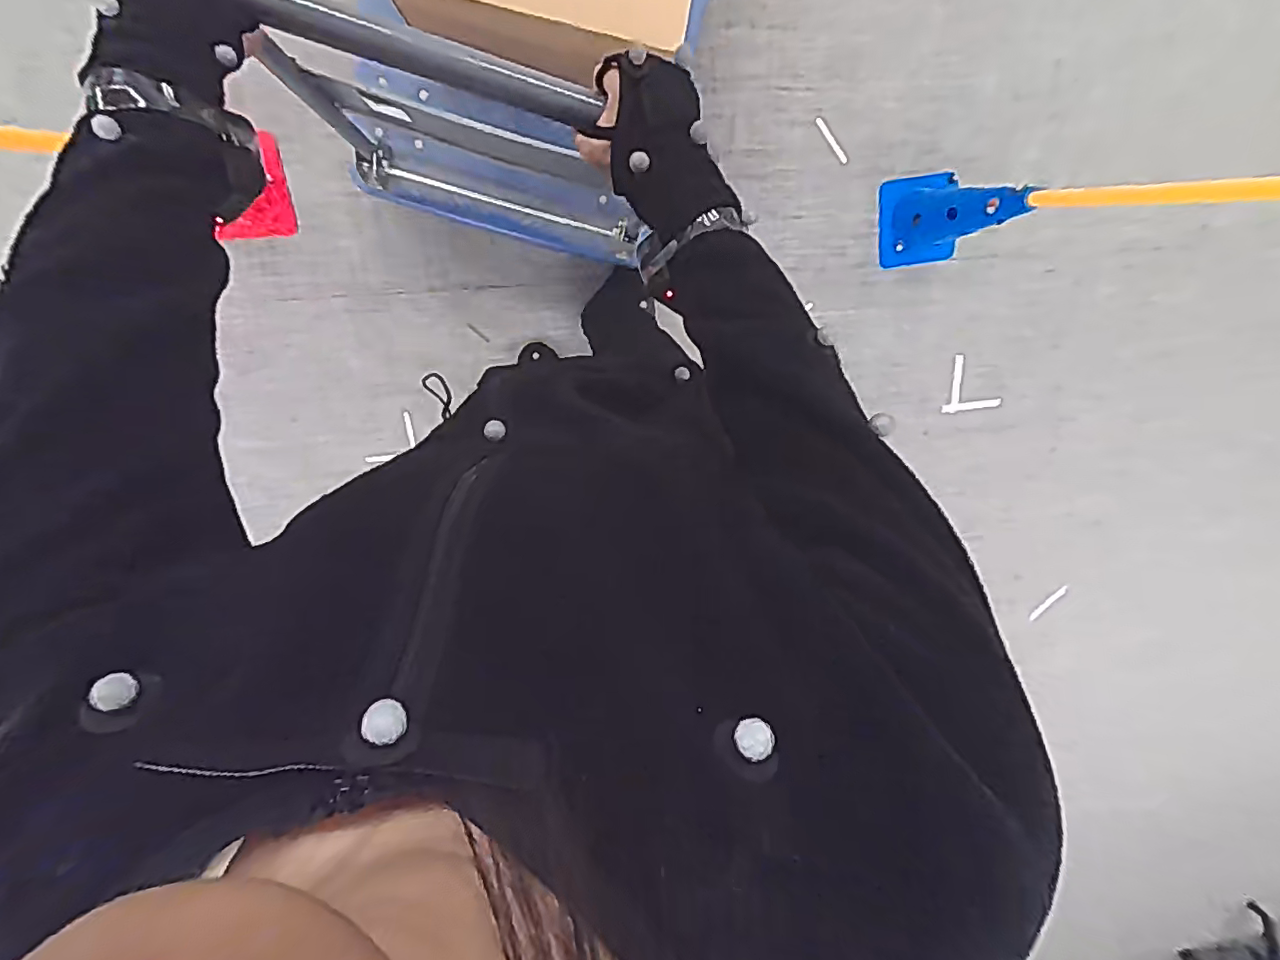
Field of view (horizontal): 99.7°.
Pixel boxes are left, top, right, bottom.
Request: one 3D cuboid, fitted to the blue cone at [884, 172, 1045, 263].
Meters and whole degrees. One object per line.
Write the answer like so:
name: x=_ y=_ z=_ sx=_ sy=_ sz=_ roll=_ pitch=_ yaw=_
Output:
blue cone: x=0.709 y=-0.588 z=1.172 sx=0.193 sy=0.380 sz=0.192 roll=-9 pitch=109 yaw=-5
